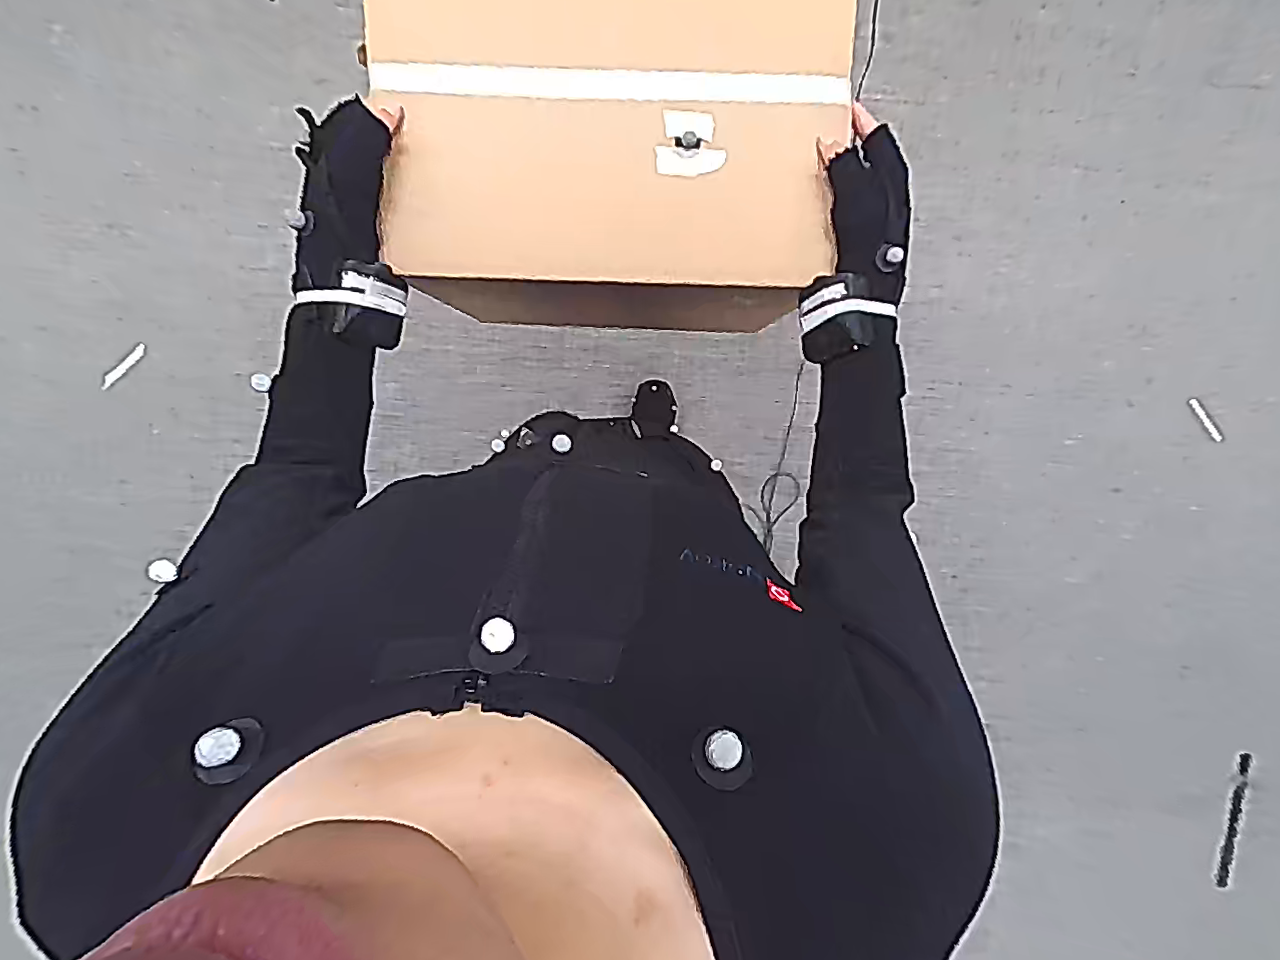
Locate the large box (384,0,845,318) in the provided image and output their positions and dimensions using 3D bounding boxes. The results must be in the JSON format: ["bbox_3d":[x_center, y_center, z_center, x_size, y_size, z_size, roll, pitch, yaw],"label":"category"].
[{"bbox_3d":[-0.026,-0.367,0.621,0.408,0.320,0.320,1,100,-1],"label":"large box"}]
